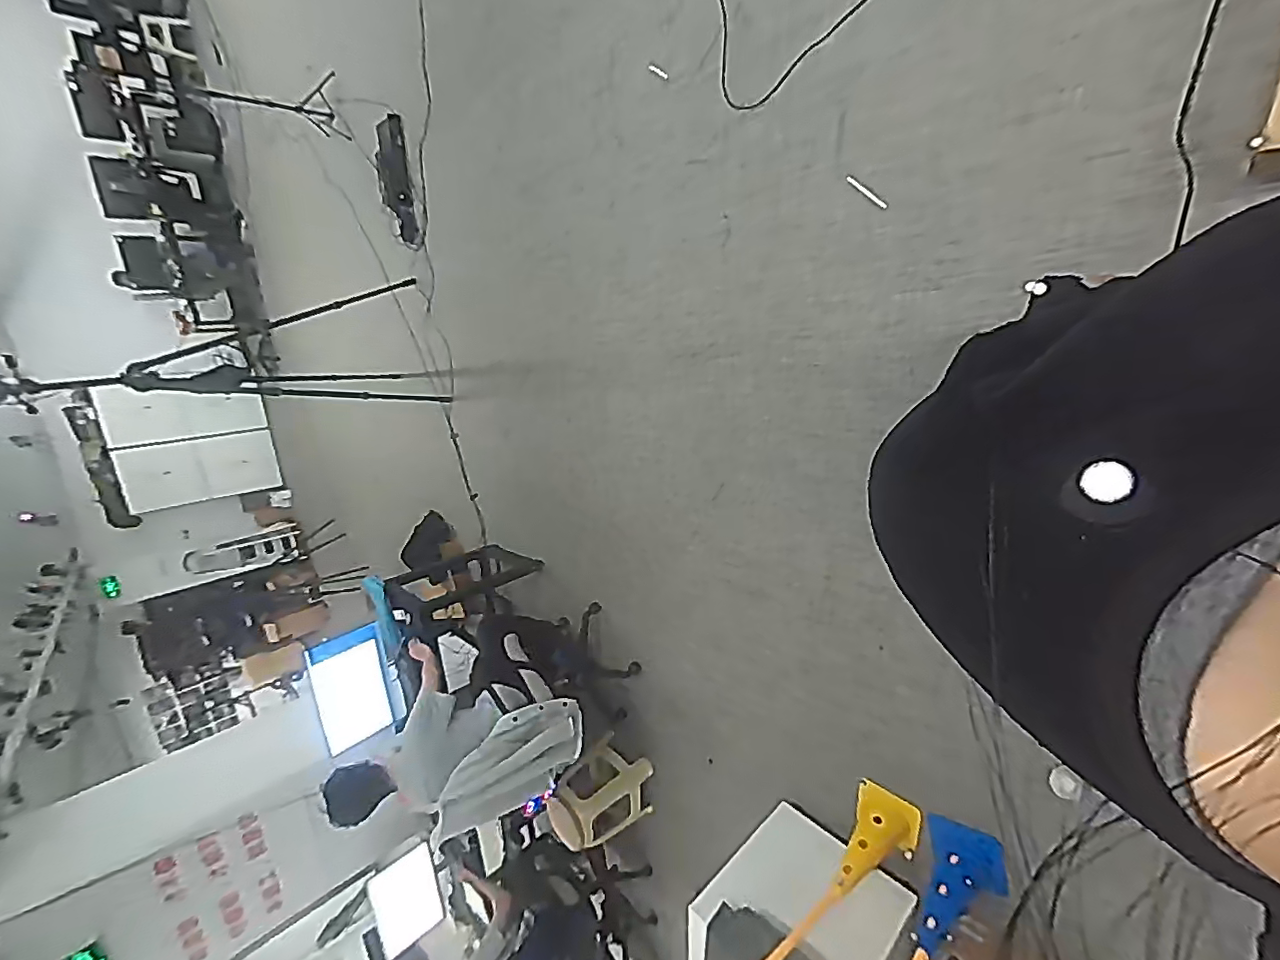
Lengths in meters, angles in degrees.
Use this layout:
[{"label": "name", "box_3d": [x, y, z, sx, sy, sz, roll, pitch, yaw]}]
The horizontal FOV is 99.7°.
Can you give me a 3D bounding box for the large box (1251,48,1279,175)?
[{"label": "large box", "box_3d": [1.122, -0.610, 0.688, 0.408, 0.320, 0.320, 17, 115, 44]}]
